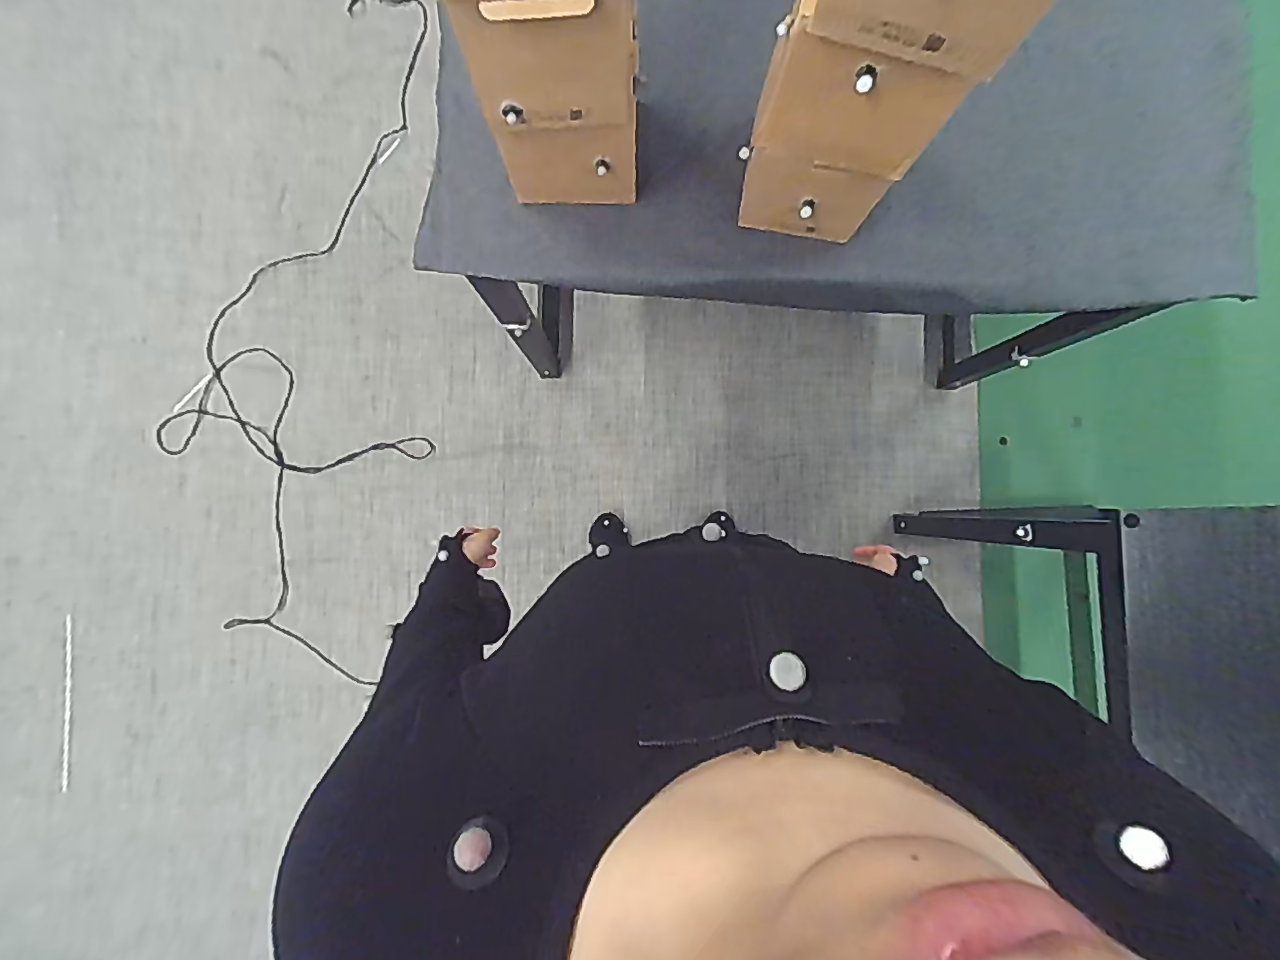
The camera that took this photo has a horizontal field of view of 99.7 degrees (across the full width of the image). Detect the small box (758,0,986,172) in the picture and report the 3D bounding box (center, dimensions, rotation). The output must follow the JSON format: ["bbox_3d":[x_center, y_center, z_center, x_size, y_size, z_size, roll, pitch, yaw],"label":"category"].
[{"bbox_3d":[0.238,-0.454,0.555,0.179,0.176,0.168,15,86,2],"label":"small box"}]

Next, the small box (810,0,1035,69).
[{"bbox_3d":[0.238,-0.452,0.389,0.168,0.176,0.179,16,86,2],"label":"small box"}]

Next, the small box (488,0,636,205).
[{"bbox_3d":[-0.094,-0.492,0.724,0.179,0.176,0.168,-1,85,1],"label":"small box"}]

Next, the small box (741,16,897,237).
[{"bbox_3d":[0.236,-0.452,0.719,0.168,0.176,0.179,9,87,1],"label":"small box"}]

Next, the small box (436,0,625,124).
[{"bbox_3d":[-0.104,-0.502,0.560,0.168,0.176,0.179,-5,84,-1],"label":"small box"}]
